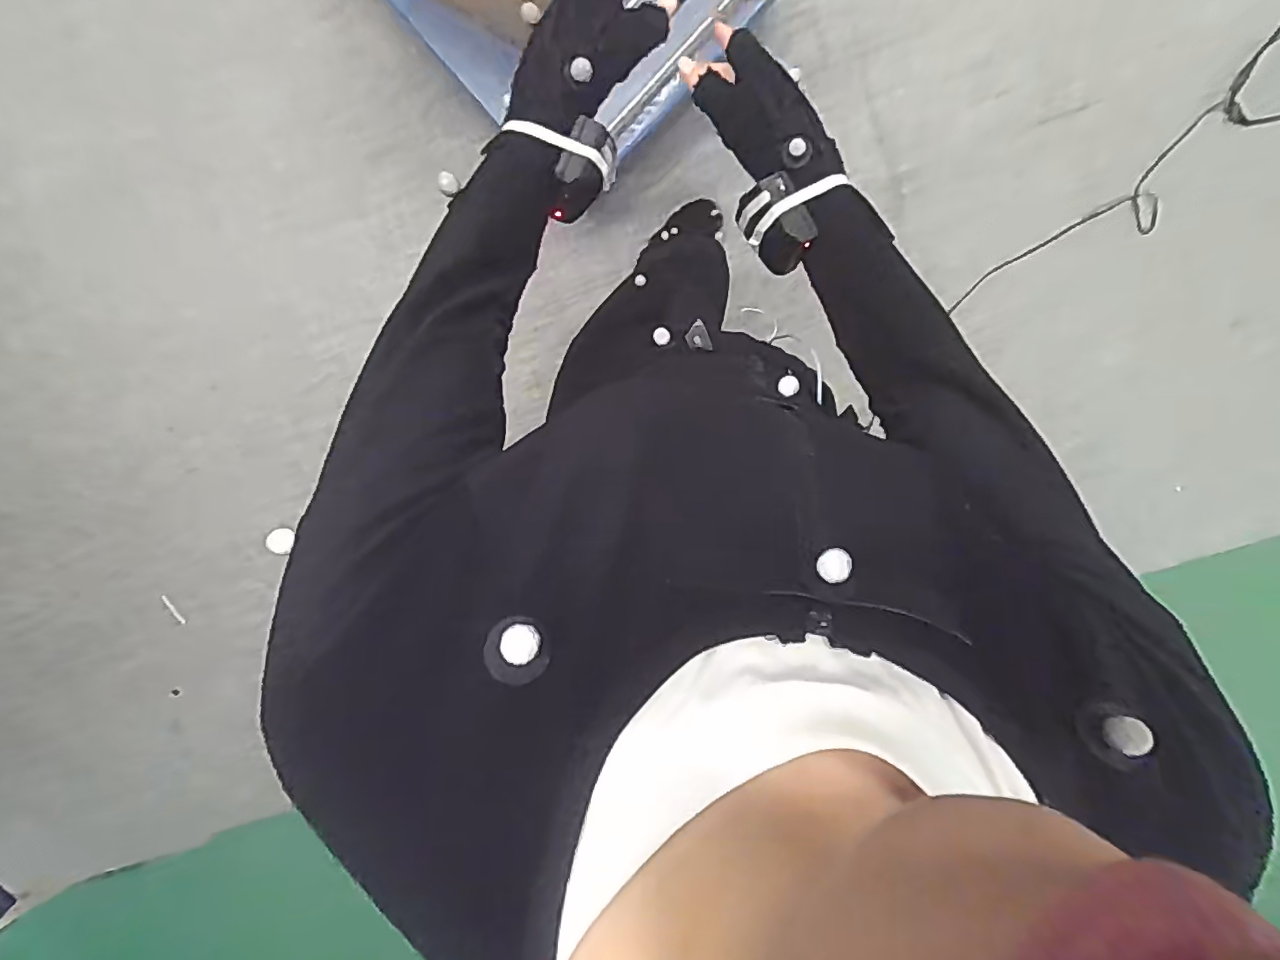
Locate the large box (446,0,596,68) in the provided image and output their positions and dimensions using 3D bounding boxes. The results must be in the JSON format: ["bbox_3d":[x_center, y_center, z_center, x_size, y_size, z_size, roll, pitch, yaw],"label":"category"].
[{"bbox_3d":[-0.181,-0.947,0.800,0.320,0.320,0.408,24,110,-9],"label":"large box"}]
